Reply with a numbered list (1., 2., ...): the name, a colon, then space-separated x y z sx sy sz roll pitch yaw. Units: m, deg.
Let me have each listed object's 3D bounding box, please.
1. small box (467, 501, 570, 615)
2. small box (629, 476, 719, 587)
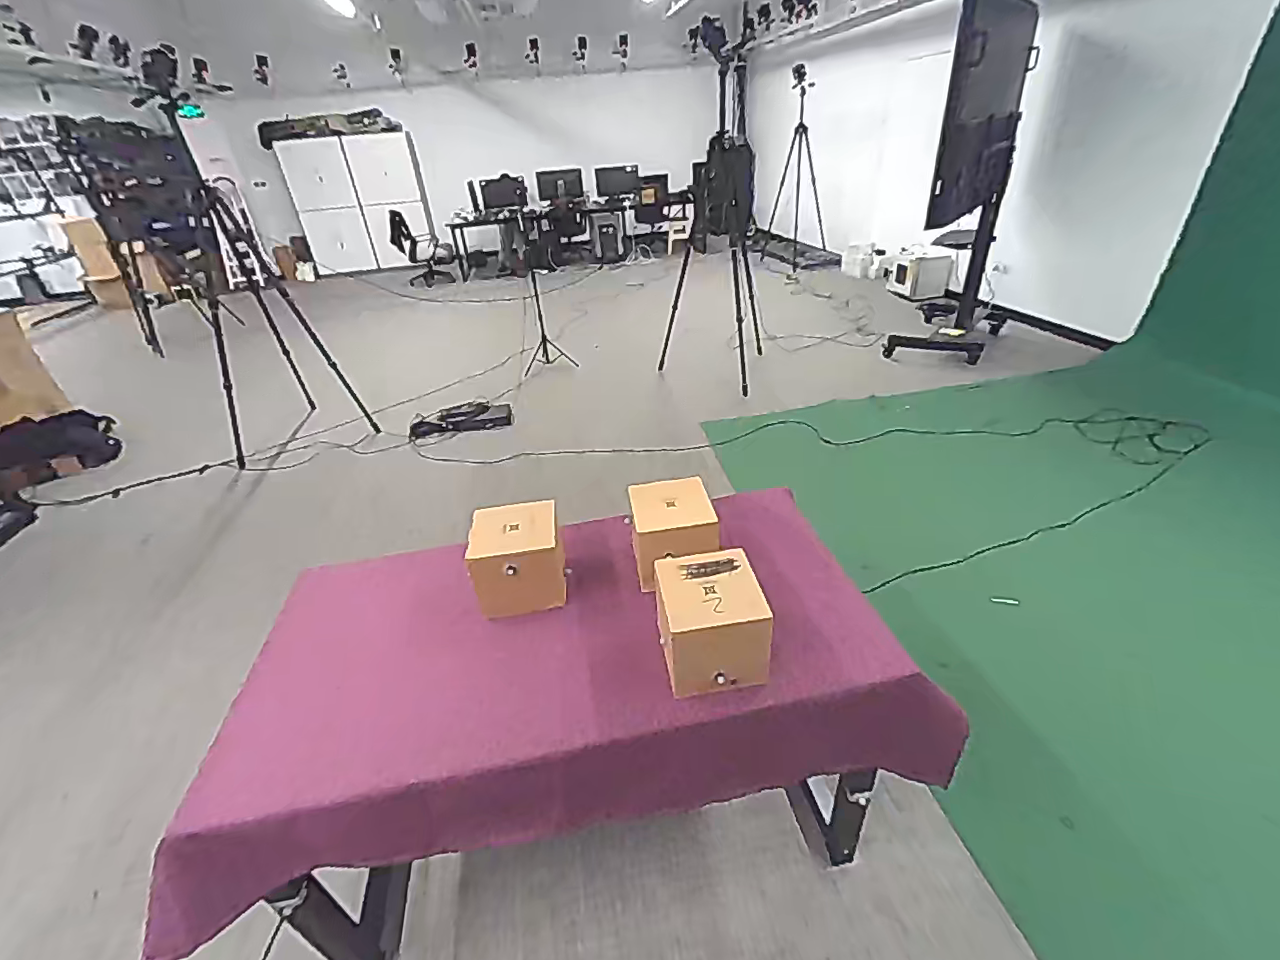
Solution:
1. small box: -0.249 0.168 1.147 0.179 0.176 0.168 -7 33 -4
2. small box: 0.074 0.116 1.175 0.168 0.176 0.179 -8 32 -3
